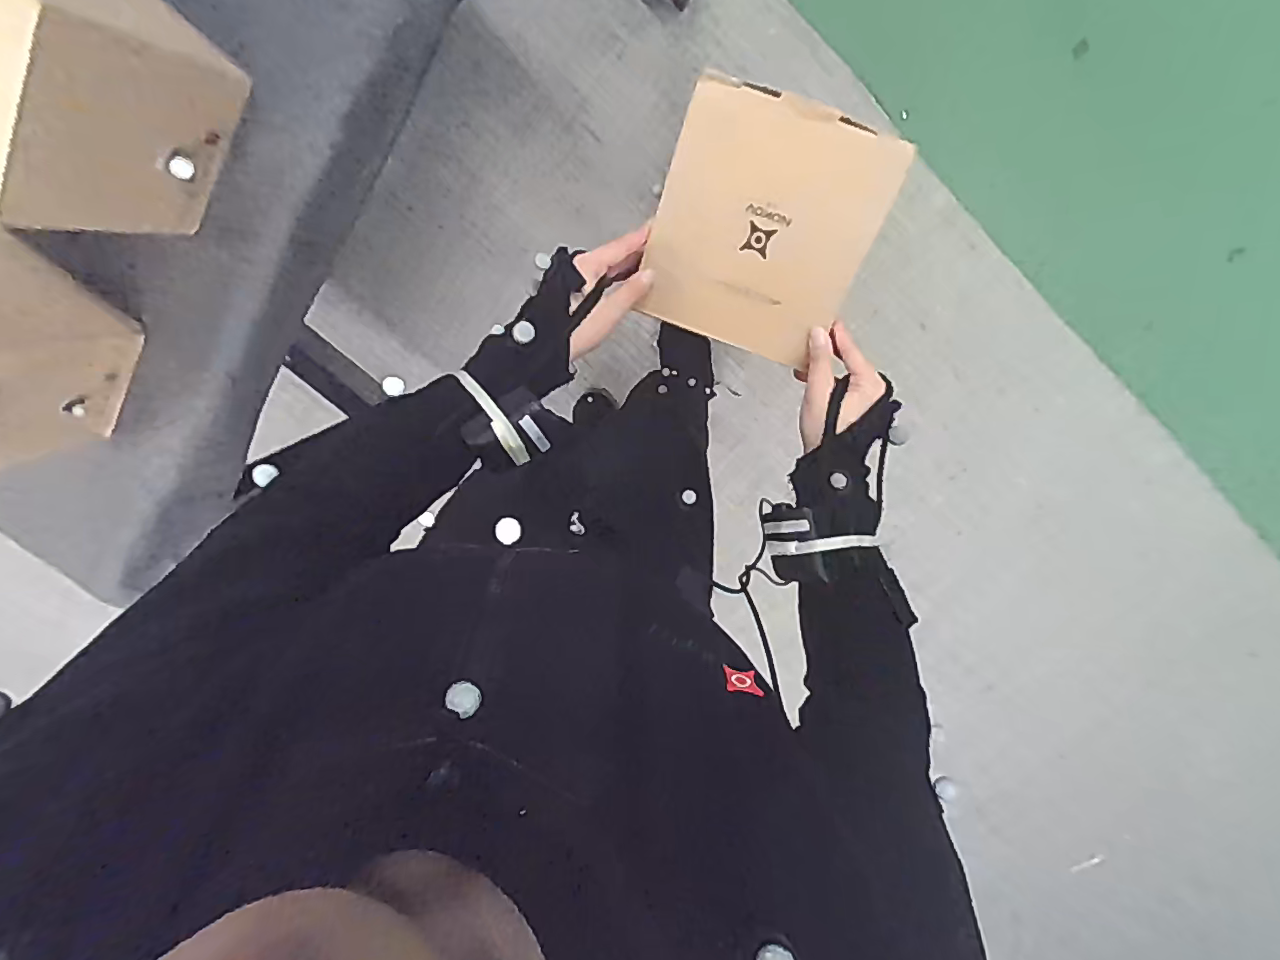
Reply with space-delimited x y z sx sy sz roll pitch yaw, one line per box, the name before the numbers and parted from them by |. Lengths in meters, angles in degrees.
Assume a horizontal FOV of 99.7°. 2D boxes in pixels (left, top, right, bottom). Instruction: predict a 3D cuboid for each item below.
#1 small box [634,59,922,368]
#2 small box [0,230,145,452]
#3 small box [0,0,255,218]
small box | 0.107 -0.226 0.482 0.168 0.176 0.179 20 118 0
small box | -0.663 -0.137 0.533 0.179 0.176 0.168 38 112 -9
small box | -0.463 -0.329 0.422 0.179 0.176 0.168 40 112 -9
